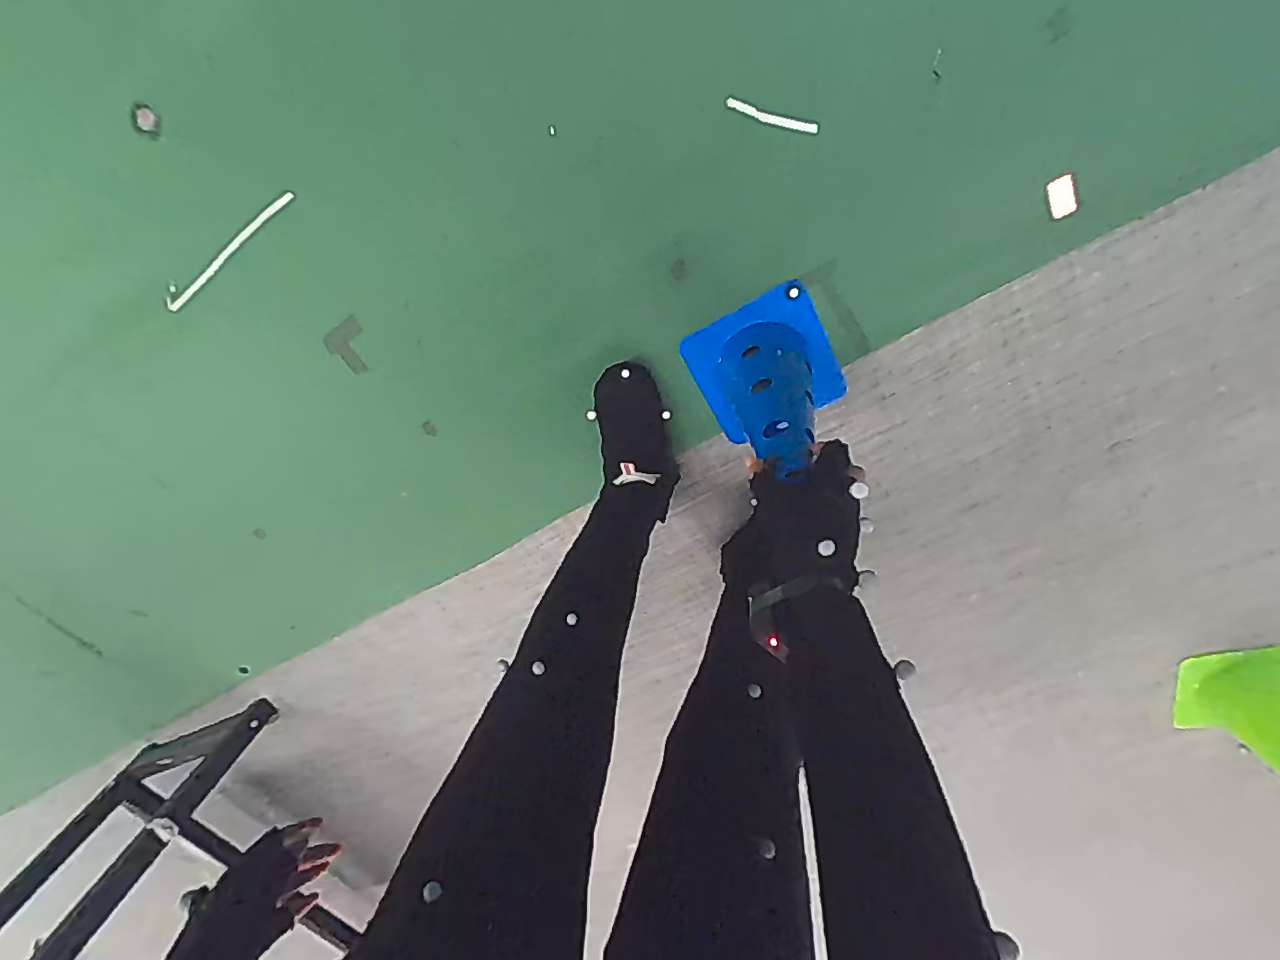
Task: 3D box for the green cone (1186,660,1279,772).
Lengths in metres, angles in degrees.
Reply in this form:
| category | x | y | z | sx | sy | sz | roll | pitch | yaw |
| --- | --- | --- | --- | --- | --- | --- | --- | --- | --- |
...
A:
| category | x | y | z | sx | sy | sz | roll | pitch | yaw |
| --- | --- | --- | --- | --- | --- | --- | --- | --- | --- |
| green cone | 1.099 | 0.486 | 0.839 | 0.200 | 0.368 | 0.202 | -16 | 114 | 16 |
